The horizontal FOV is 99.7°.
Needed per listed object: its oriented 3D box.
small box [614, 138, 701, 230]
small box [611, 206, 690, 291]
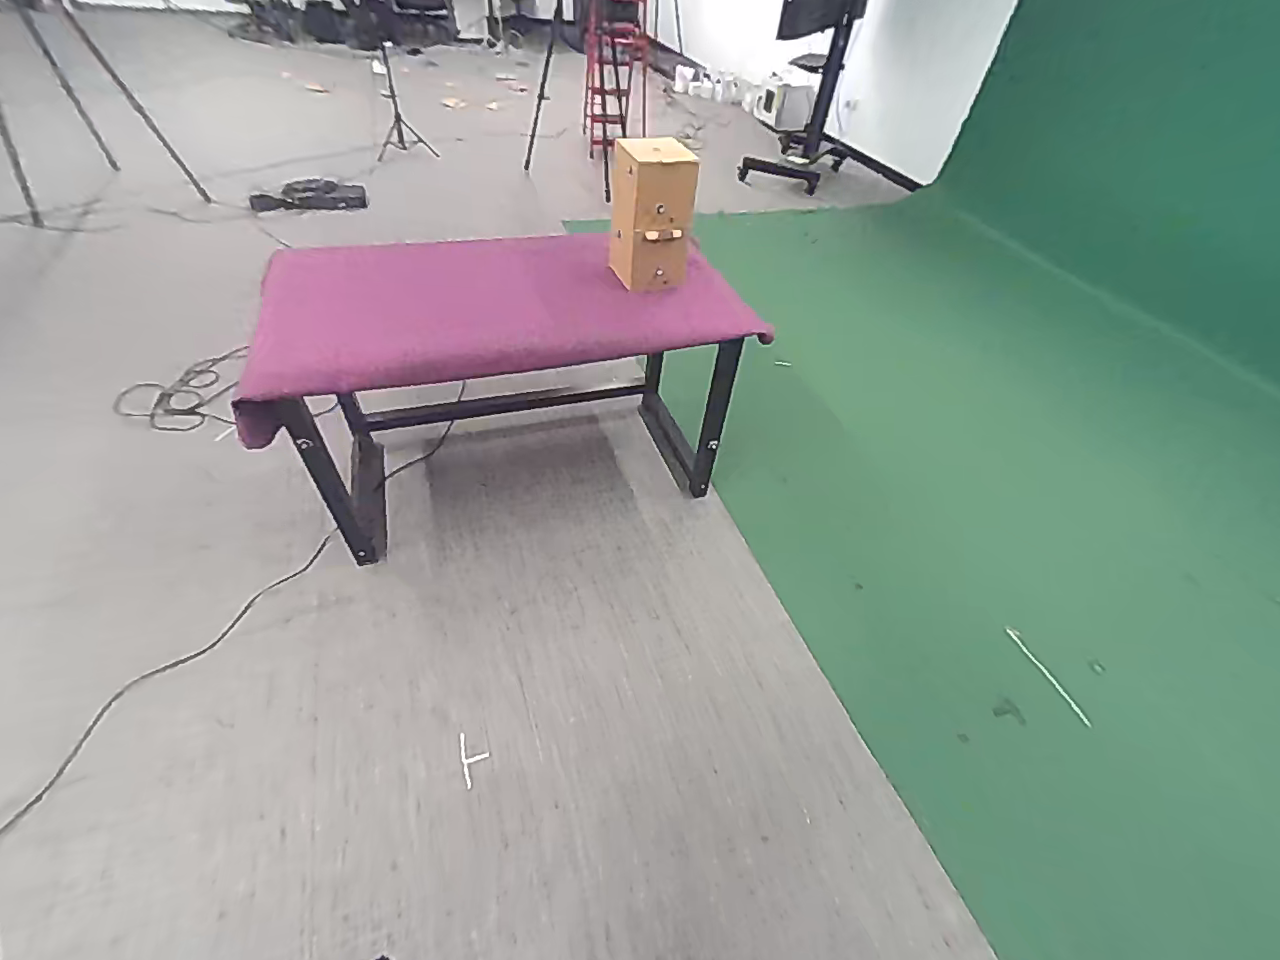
[{"bbox_3d":[0.037,-0.769,1.405,0.168,0.176,0.179,-13,51,-18],"label":"small box"},{"bbox_3d":[0.021,-0.655,1.521,0.168,0.176,0.179,-14,50,-17],"label":"small box"}]
